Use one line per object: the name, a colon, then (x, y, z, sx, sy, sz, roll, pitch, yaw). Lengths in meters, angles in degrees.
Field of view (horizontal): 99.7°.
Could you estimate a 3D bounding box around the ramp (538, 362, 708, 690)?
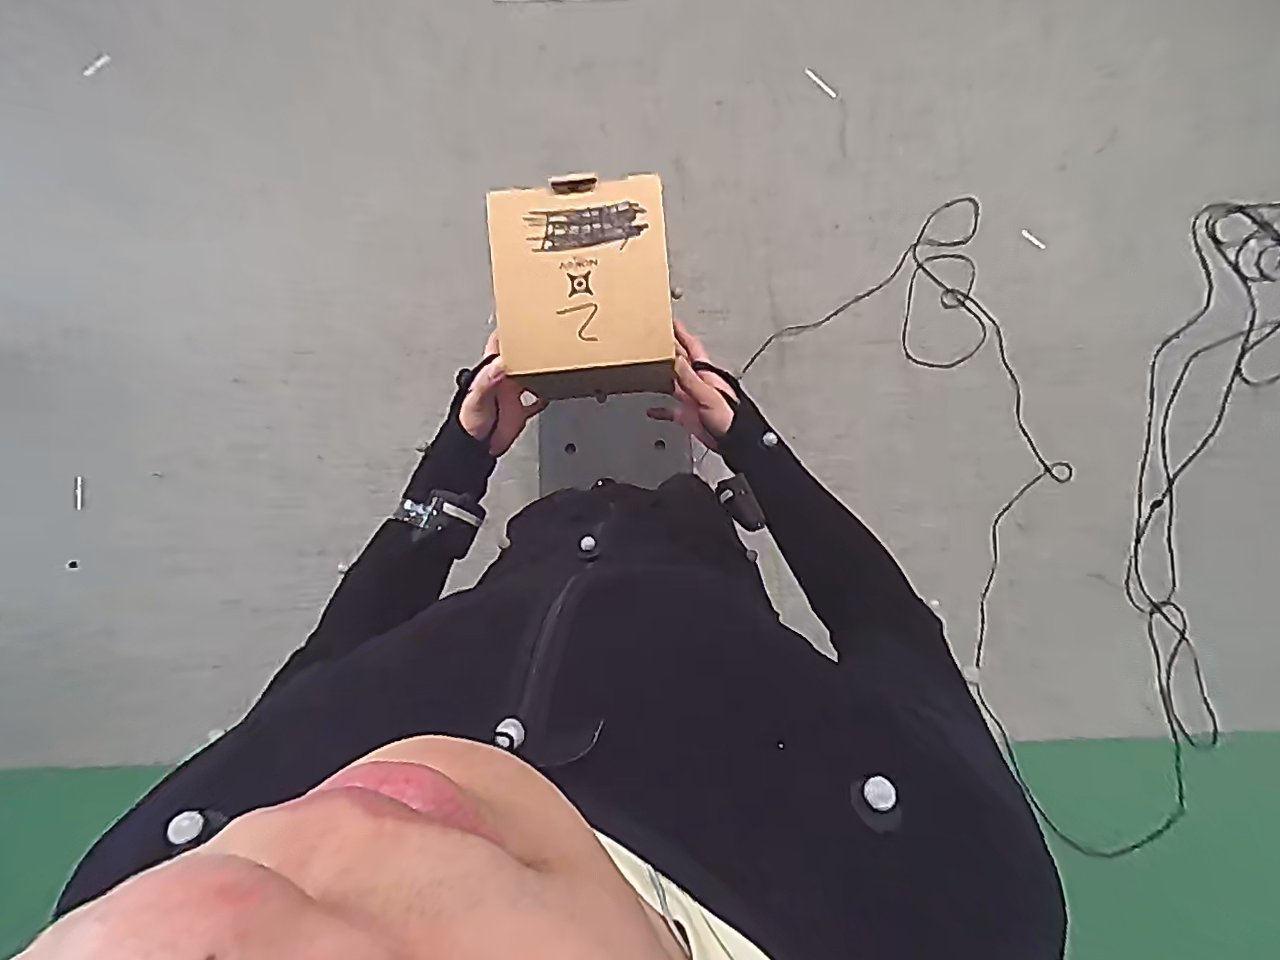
ramp: (-0.069, 0.111, 1.668, 0.509, 0.206, 0.991, -4, 88, 0)
